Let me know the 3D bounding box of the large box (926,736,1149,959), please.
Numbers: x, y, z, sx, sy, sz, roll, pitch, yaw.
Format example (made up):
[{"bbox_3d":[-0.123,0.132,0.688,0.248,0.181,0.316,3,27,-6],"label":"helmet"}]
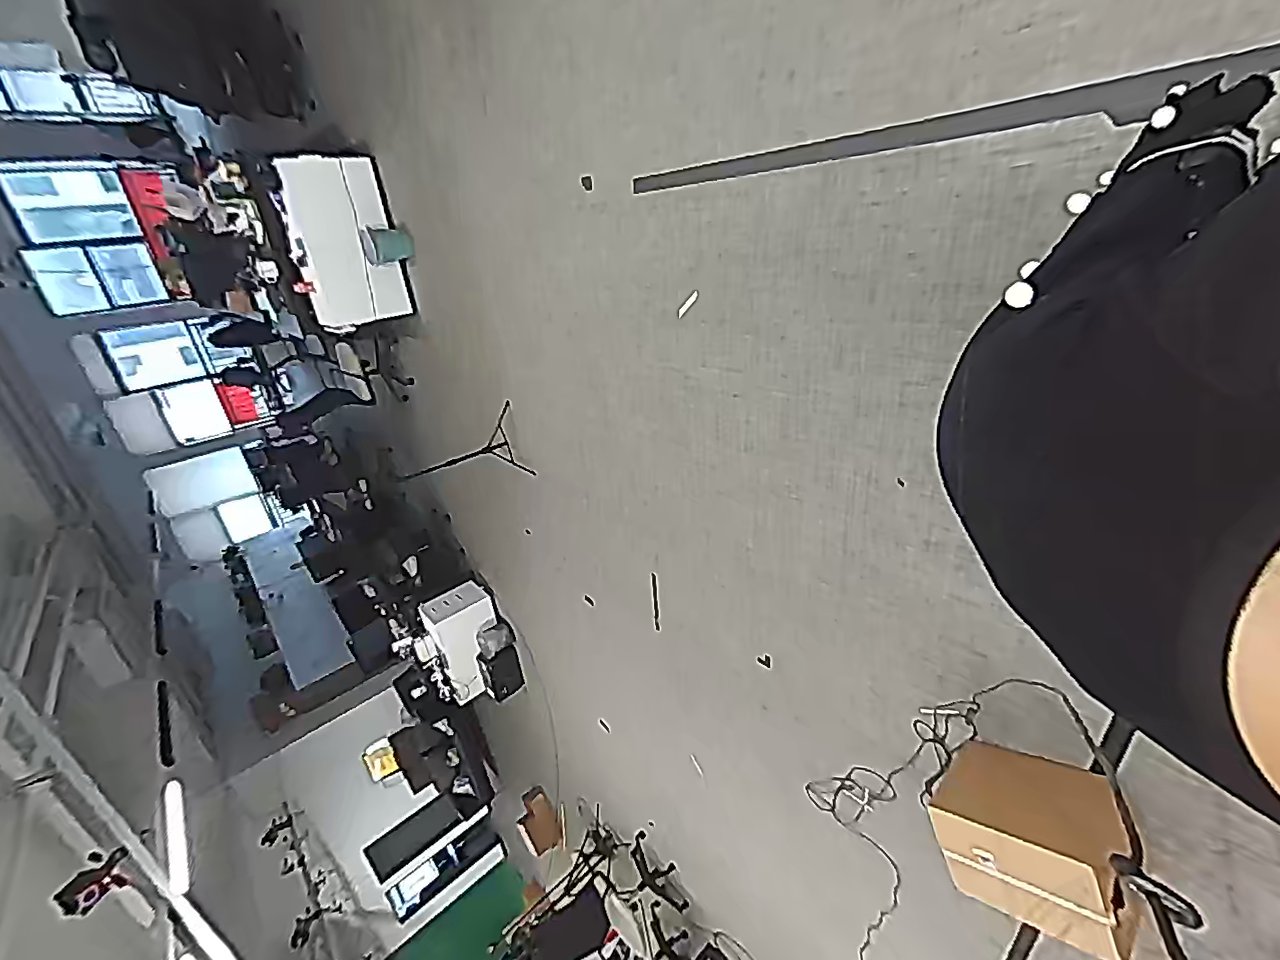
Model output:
[{"bbox_3d":[1.129,1.007,1.549,0.408,0.320,0.320,-11,103,55],"label":"large box"}]
